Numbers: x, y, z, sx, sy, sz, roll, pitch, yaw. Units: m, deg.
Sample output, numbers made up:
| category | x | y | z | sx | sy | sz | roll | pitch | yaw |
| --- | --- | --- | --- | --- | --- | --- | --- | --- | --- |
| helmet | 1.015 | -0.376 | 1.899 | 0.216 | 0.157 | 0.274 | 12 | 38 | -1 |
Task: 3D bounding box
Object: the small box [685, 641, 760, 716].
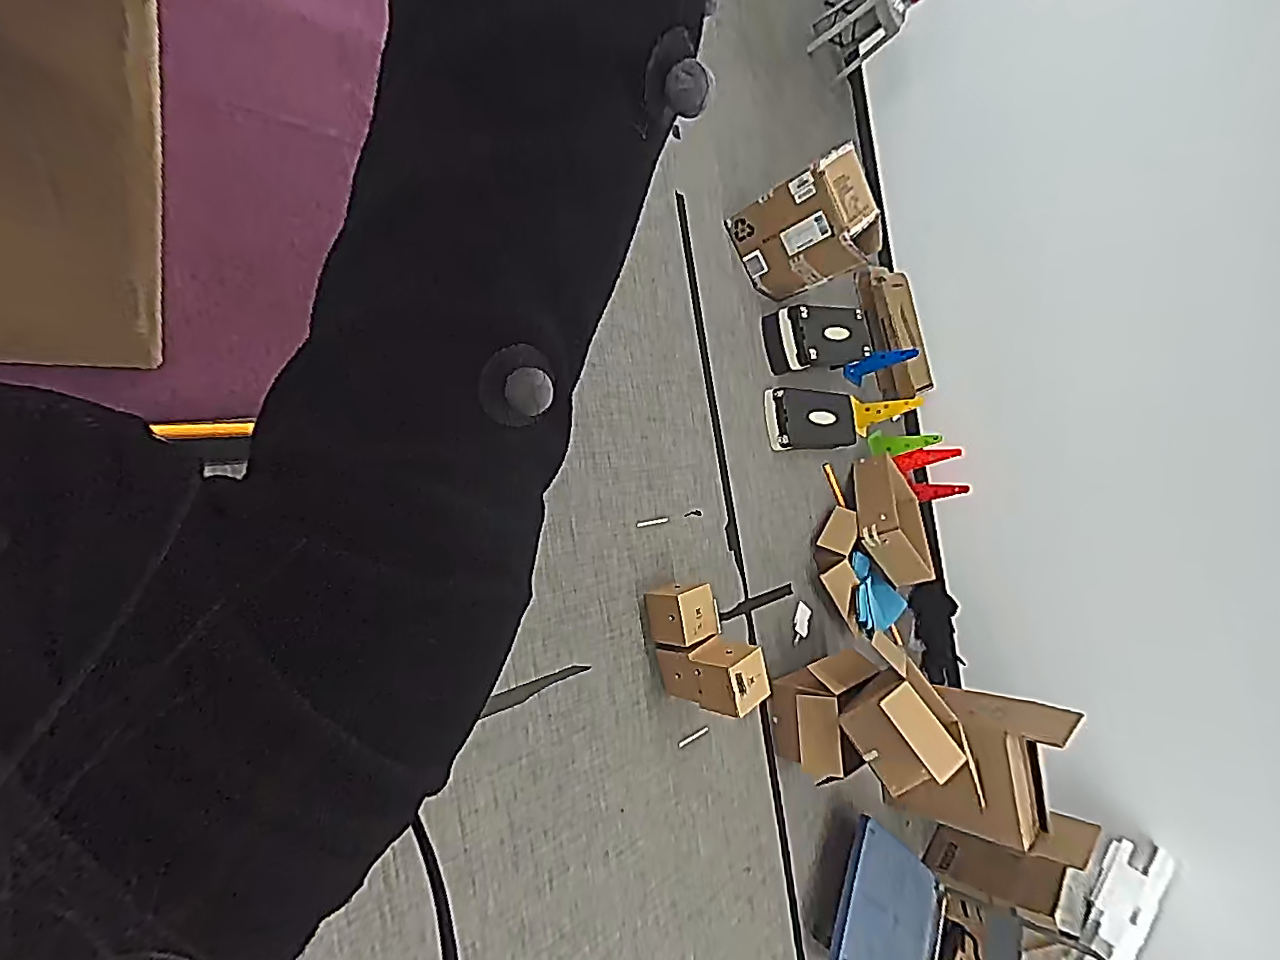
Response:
| category | x | y | z | sx | sy | sz | roll | pitch | yaw |
| --- | --- | --- | --- | --- | --- | --- | --- | --- | --- |
| small box | 0.263 | 0.645 | 1.775 | 0.179 | 0.176 | 0.168 | -15 | 94 | -43 |
